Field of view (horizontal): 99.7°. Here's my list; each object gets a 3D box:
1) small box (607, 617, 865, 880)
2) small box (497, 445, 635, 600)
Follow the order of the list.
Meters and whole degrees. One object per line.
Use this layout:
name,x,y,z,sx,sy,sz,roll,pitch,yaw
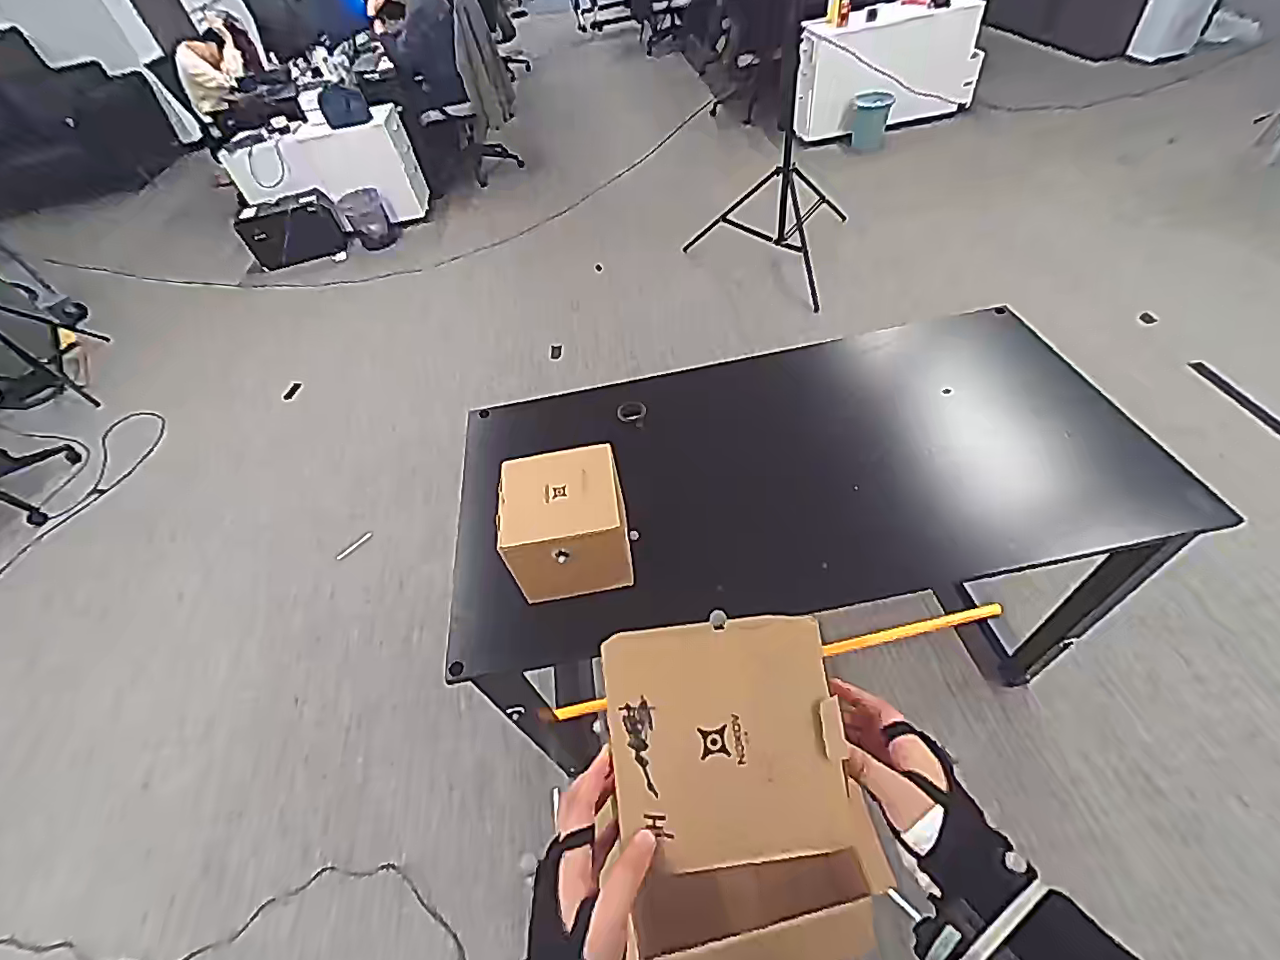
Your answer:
small box,0.067,0.214,0.481,0.179,0.176,0.168,-7,76,-1
small box,-0.112,0.072,0.852,0.179,0.176,0.168,-10,50,0
